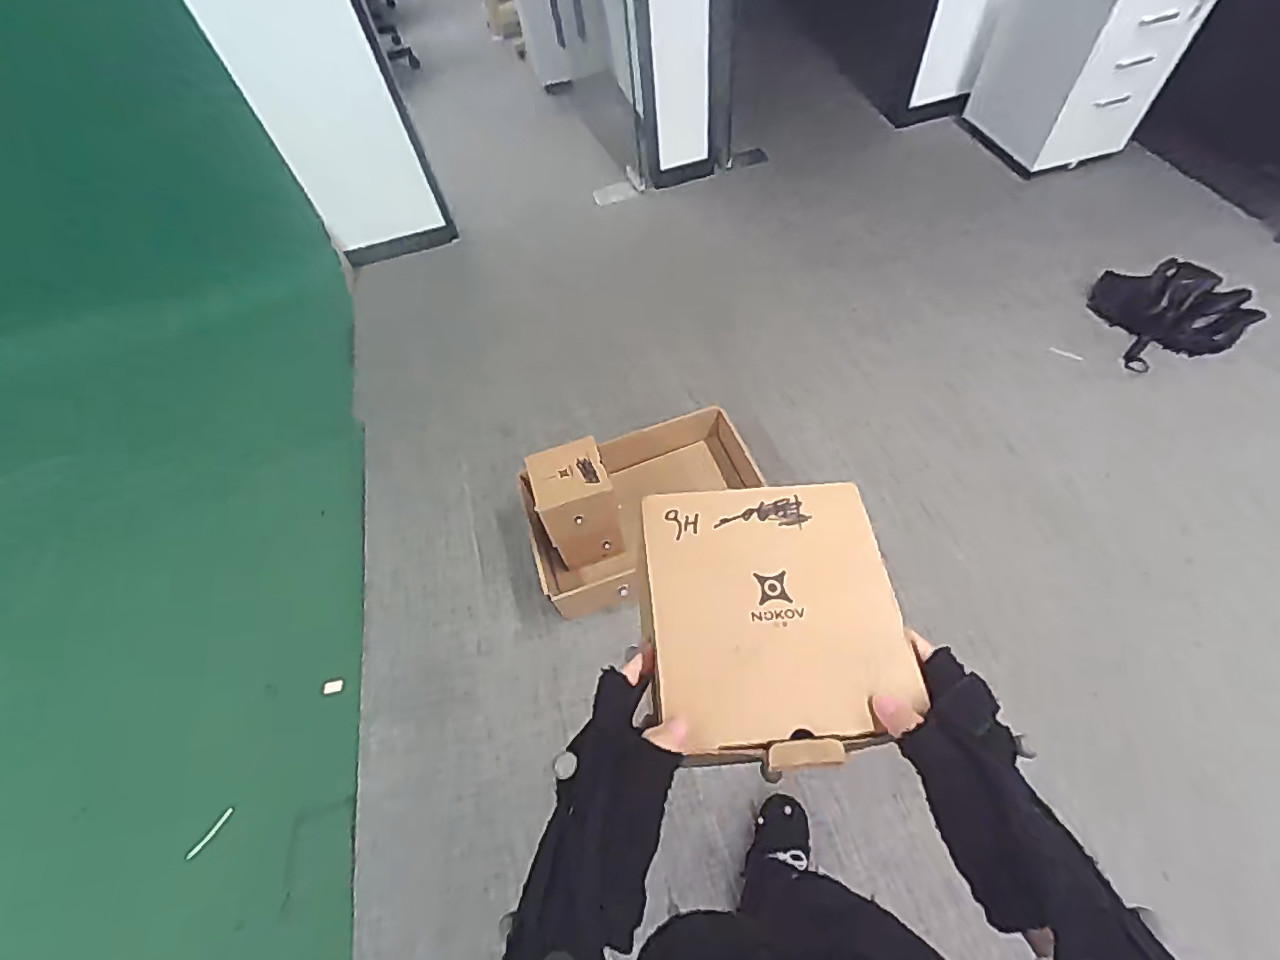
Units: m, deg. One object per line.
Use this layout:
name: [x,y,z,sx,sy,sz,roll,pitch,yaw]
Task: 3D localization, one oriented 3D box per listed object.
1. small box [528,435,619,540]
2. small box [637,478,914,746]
small box: [-0.156,0.022,1.316,0.179,0.176,0.168,-18,57,-5]
small box: [0.086,0.117,0.445,0.168,0.176,0.179,-4,62,-3]
